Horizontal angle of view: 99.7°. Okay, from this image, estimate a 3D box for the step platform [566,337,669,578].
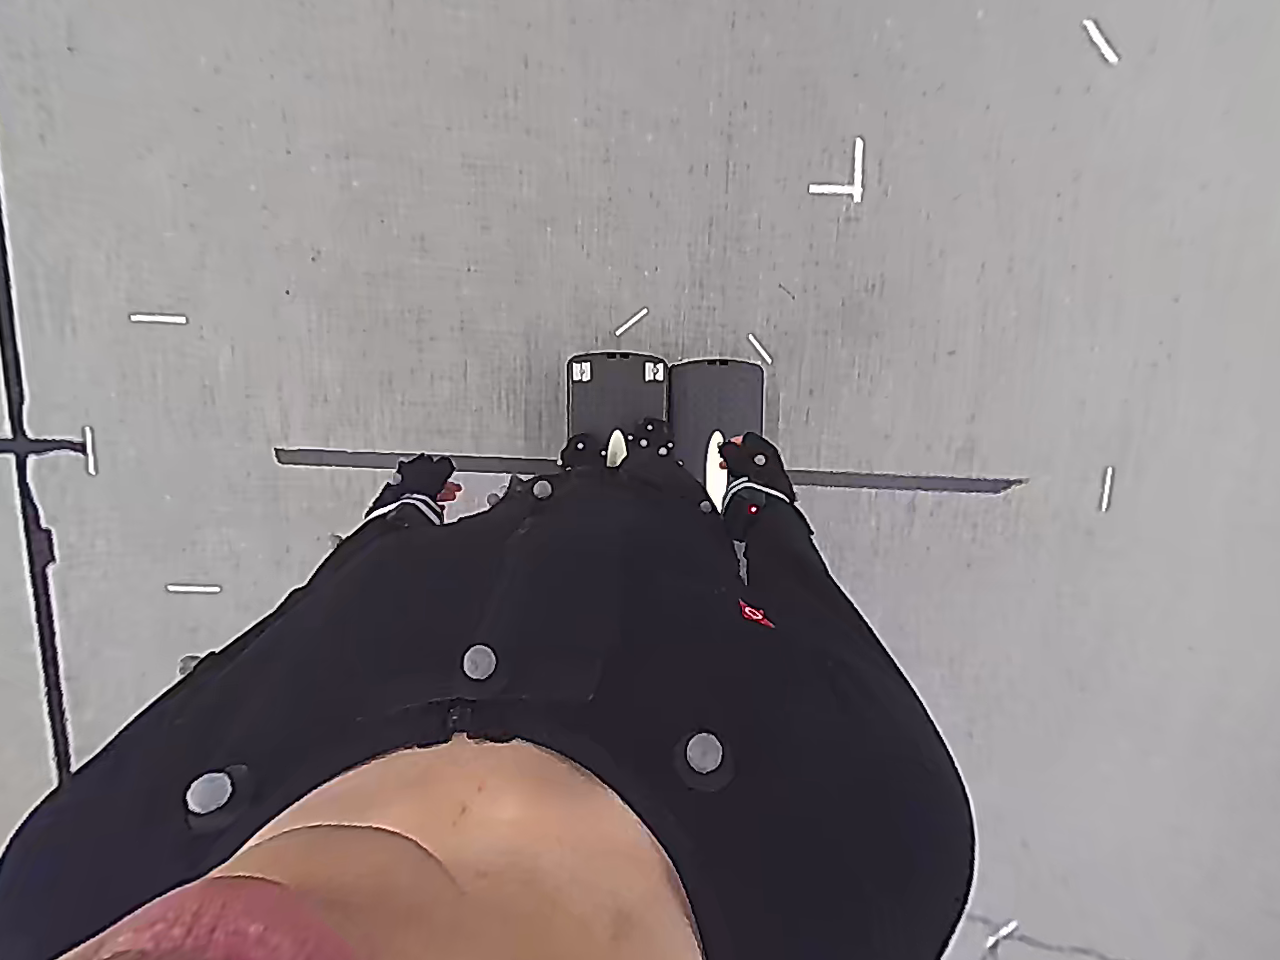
[{"bbox_3d":[-0.065,-0.061,1.567,0.286,0.204,0.684,0,96,-2],"label":"step platform"}]
